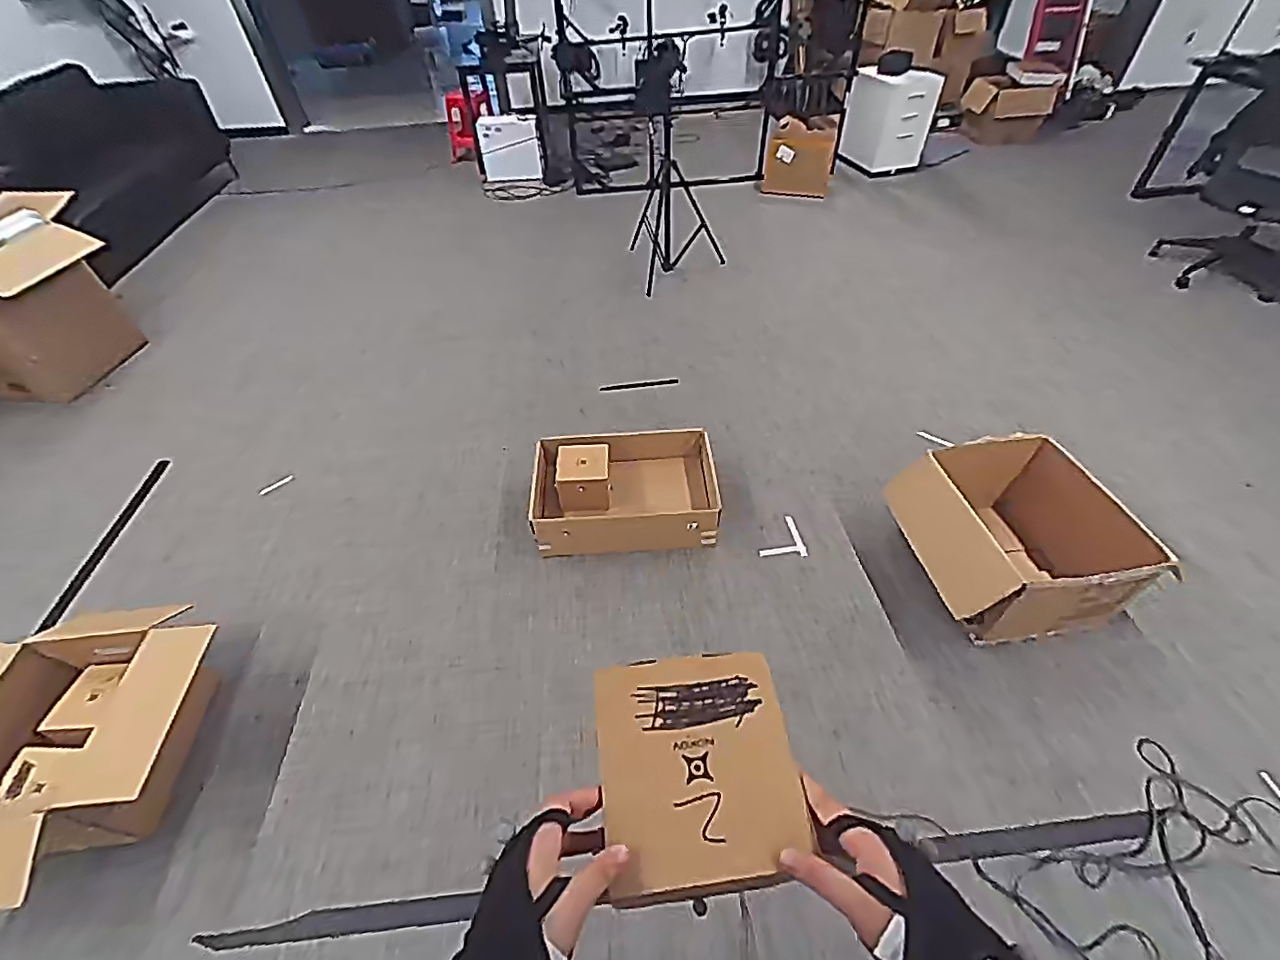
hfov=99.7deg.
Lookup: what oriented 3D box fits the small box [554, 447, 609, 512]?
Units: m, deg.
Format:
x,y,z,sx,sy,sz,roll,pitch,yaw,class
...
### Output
x,y,z,sx,sy,sz,roll,pitch,yaw,class
-0.201,0.001,1.910,0.179,0.176,0.168,-2,49,-2,small box
